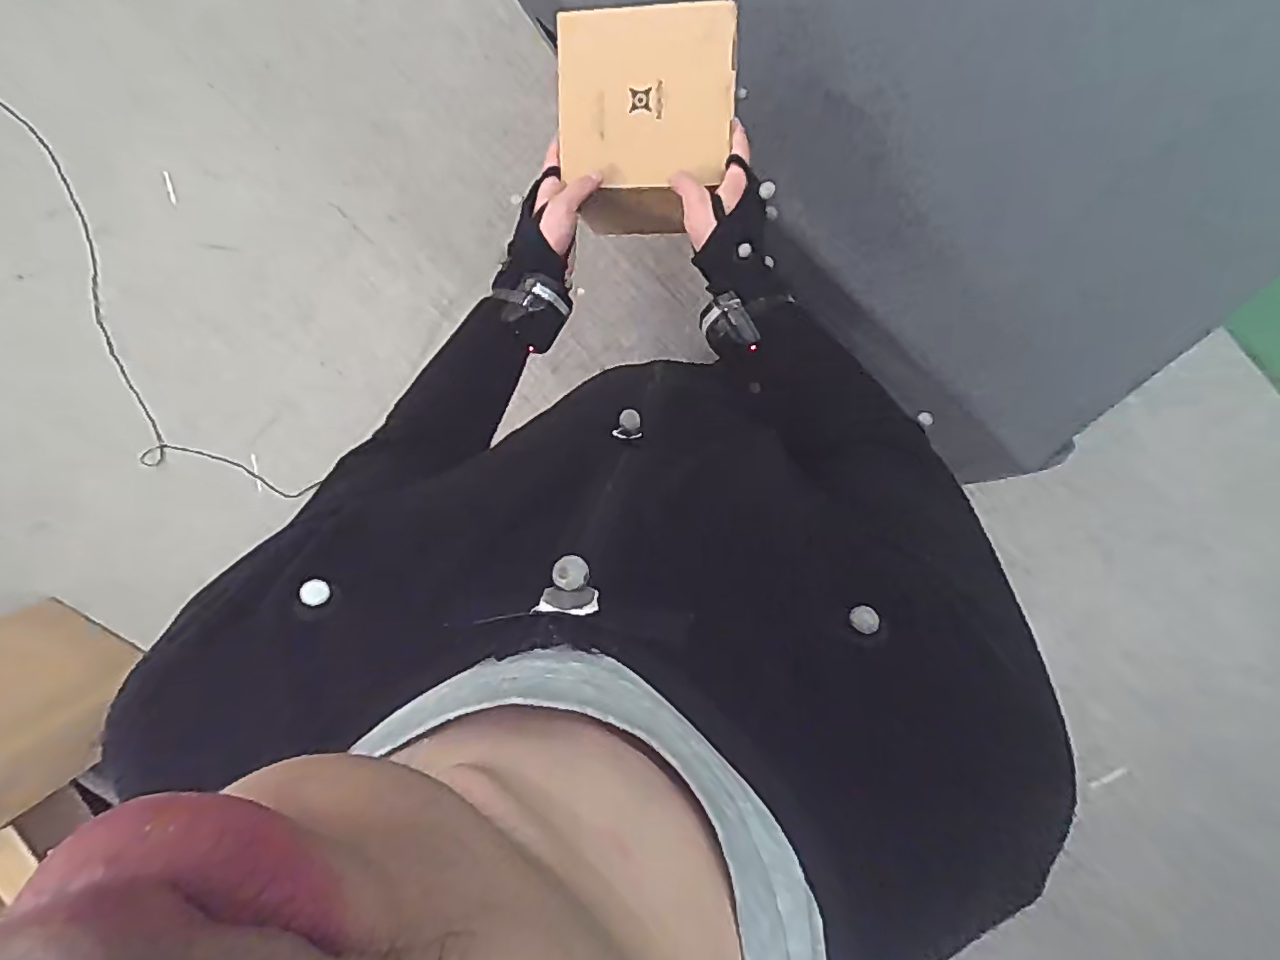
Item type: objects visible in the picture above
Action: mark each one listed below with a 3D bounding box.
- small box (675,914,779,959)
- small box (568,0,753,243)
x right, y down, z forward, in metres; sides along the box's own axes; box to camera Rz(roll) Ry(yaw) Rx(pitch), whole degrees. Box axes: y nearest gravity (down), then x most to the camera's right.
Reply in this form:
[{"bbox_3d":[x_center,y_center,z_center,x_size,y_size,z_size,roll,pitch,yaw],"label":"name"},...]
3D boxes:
[{"bbox_3d":[0.175,1.037,1.086,0.179,0.176,0.168,-43,94,15],"label":"small box"},{"bbox_3d":[0.026,-0.373,0.595,0.179,0.176,0.168,0,97,6],"label":"small box"}]
